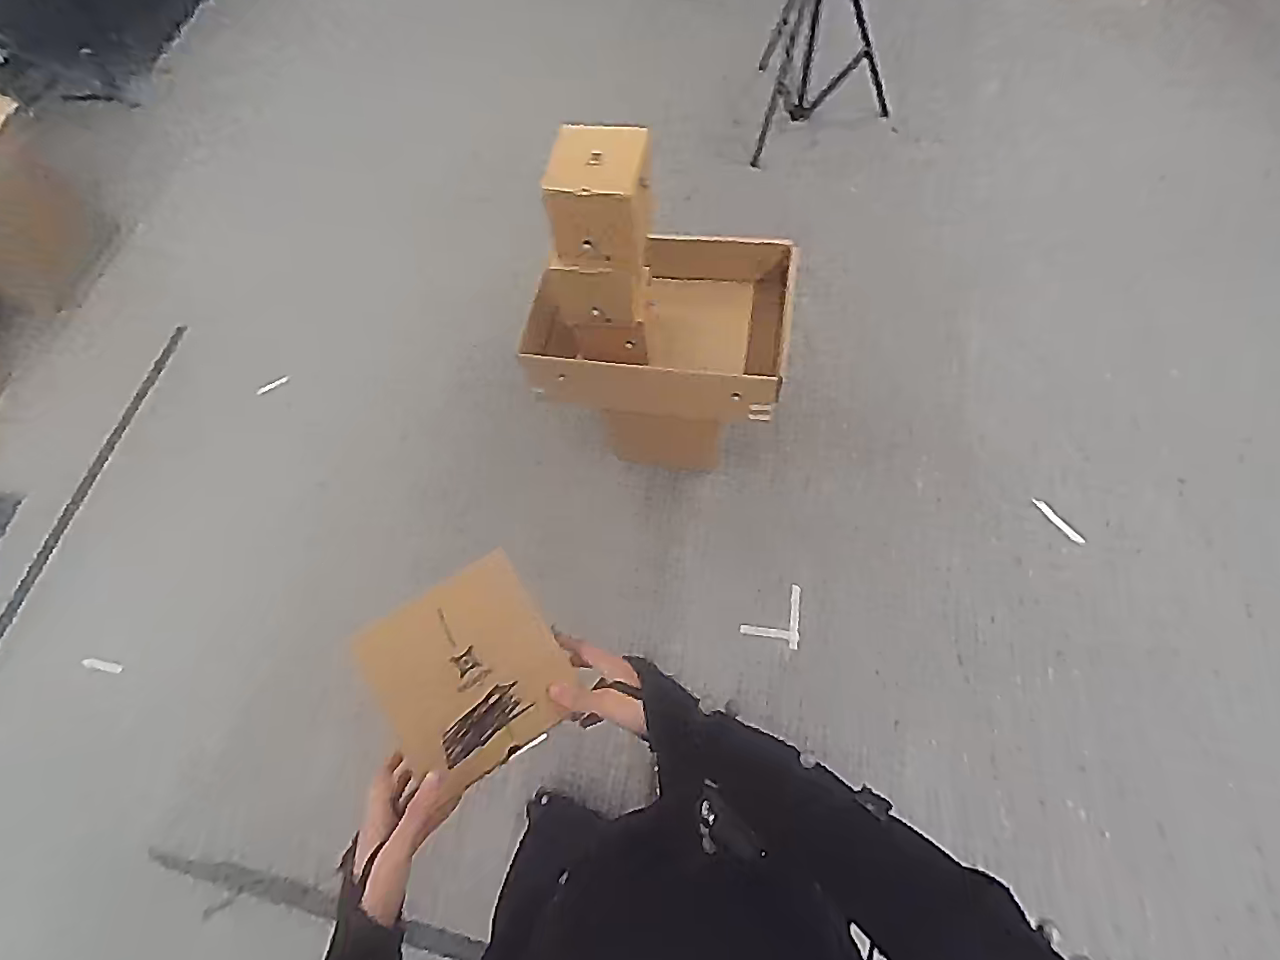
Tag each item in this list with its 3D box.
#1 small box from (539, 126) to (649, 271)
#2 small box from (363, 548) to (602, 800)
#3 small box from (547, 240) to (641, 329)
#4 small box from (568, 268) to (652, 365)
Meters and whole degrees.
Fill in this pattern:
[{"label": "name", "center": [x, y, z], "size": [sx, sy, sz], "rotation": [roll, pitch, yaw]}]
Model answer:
[{"label": "small box", "center": [-0.076, -0.528, 1.022], "size": [0.168, 0.176, 0.179], "rotation": [7, 68, 7]}, {"label": "small box", "center": [-0.158, 0.193, 0.585], "size": [0.168, 0.176, 0.179], "rotation": [-29, 83, -16]}, {"label": "small box", "center": [-0.091, -0.454, 1.169], "size": [0.168, 0.176, 0.179], "rotation": [4, 68, 7]}, {"label": "small box", "center": [-0.066, -0.395, 1.320], "size": [0.179, 0.176, 0.168], "rotation": [2, 67, 7]}]
